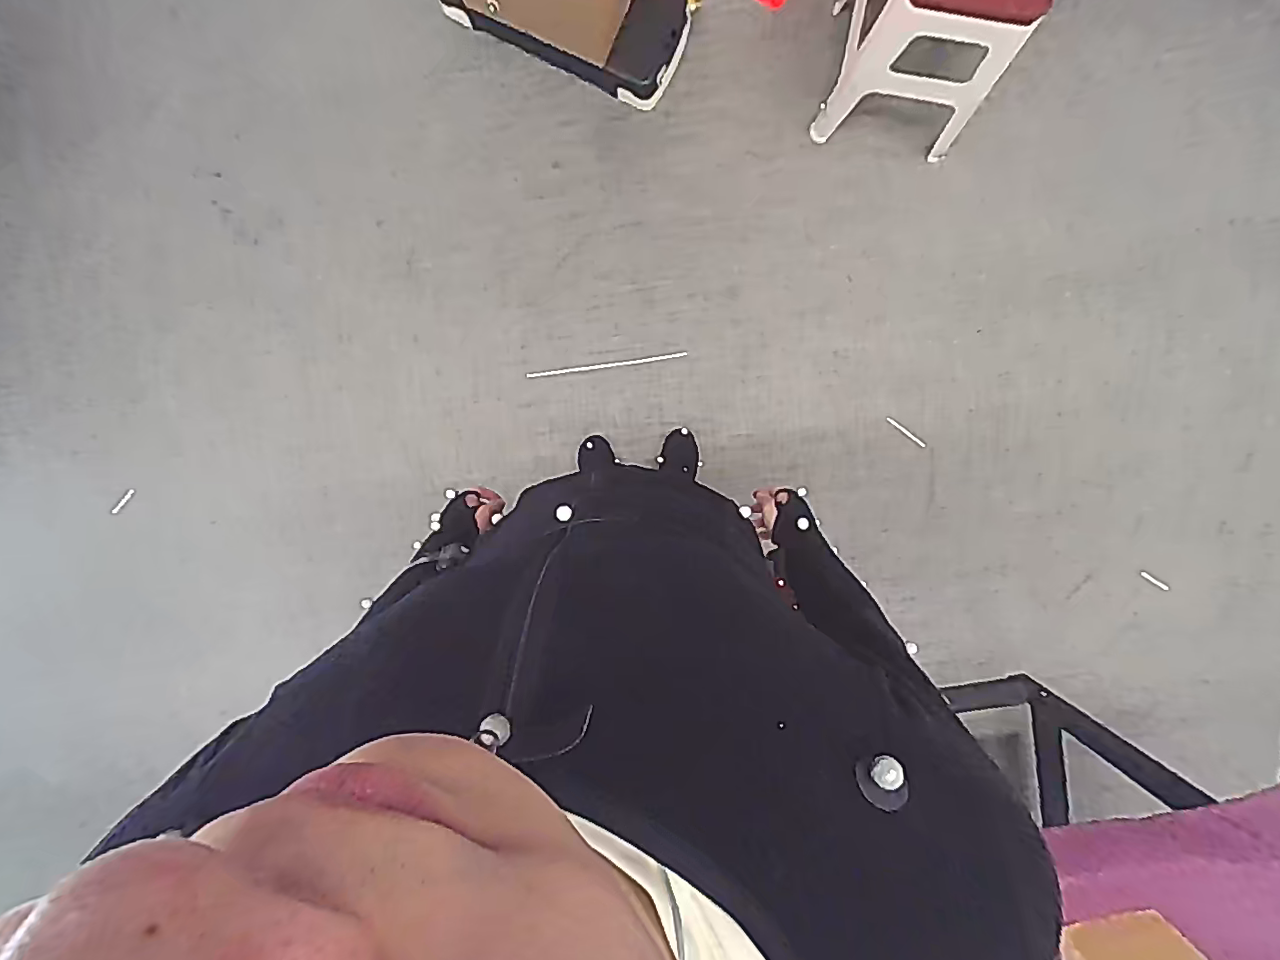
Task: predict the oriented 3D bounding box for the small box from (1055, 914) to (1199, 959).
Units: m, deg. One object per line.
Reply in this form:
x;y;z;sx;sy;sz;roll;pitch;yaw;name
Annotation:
0.835;0.859;0.884;0.179;0.176;0.168;-12;94;3;small box
